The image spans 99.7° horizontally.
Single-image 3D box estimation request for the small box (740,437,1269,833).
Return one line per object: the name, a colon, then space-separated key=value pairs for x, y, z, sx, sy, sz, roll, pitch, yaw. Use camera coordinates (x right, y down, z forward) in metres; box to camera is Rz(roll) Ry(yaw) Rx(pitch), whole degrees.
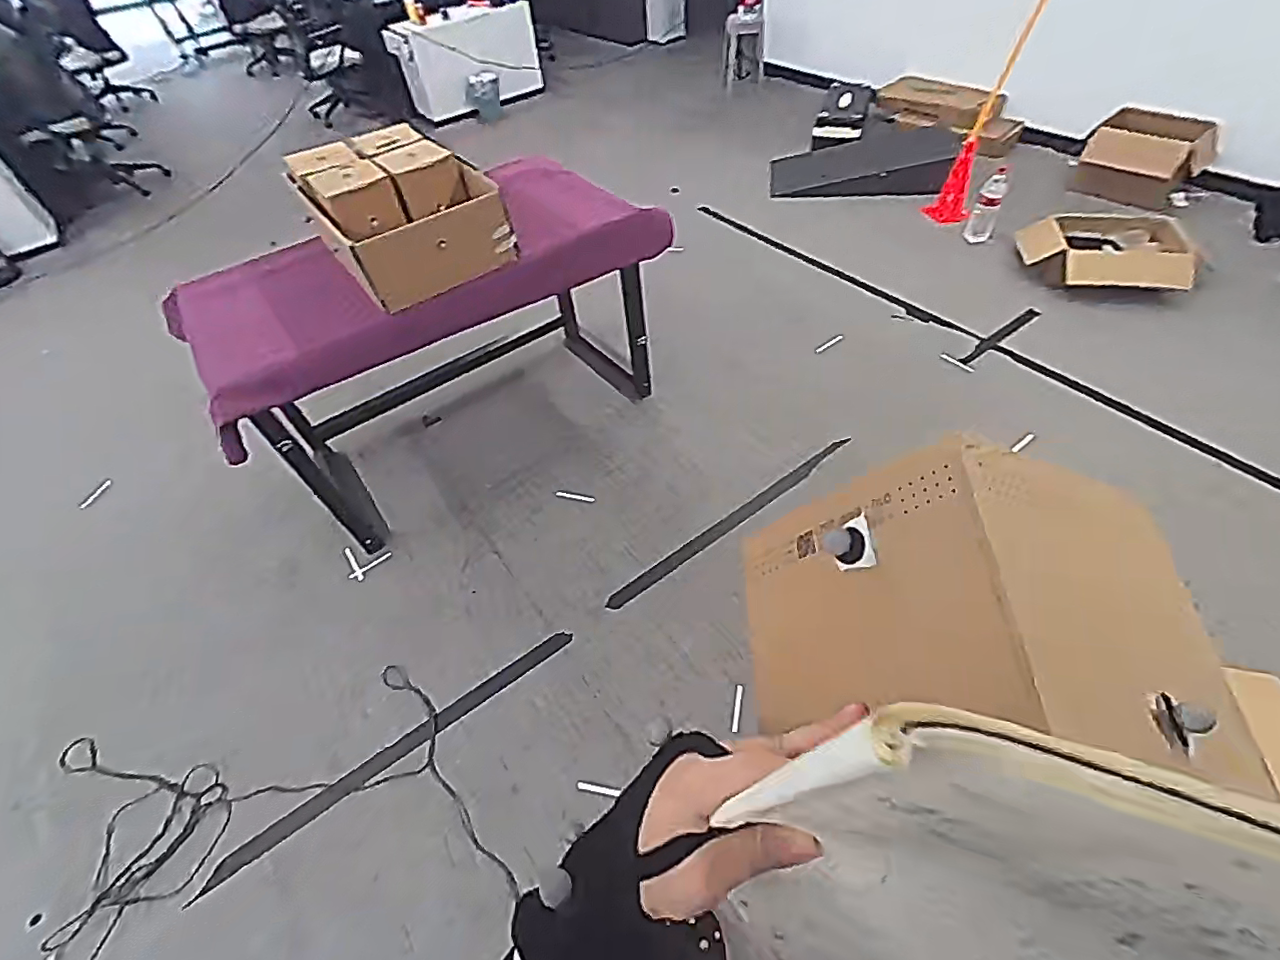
small box: x=0.178 y=0.095 z=0.314 sx=0.179 sy=0.168 sz=0.176 roll=15 pitch=57 yaw=-23
